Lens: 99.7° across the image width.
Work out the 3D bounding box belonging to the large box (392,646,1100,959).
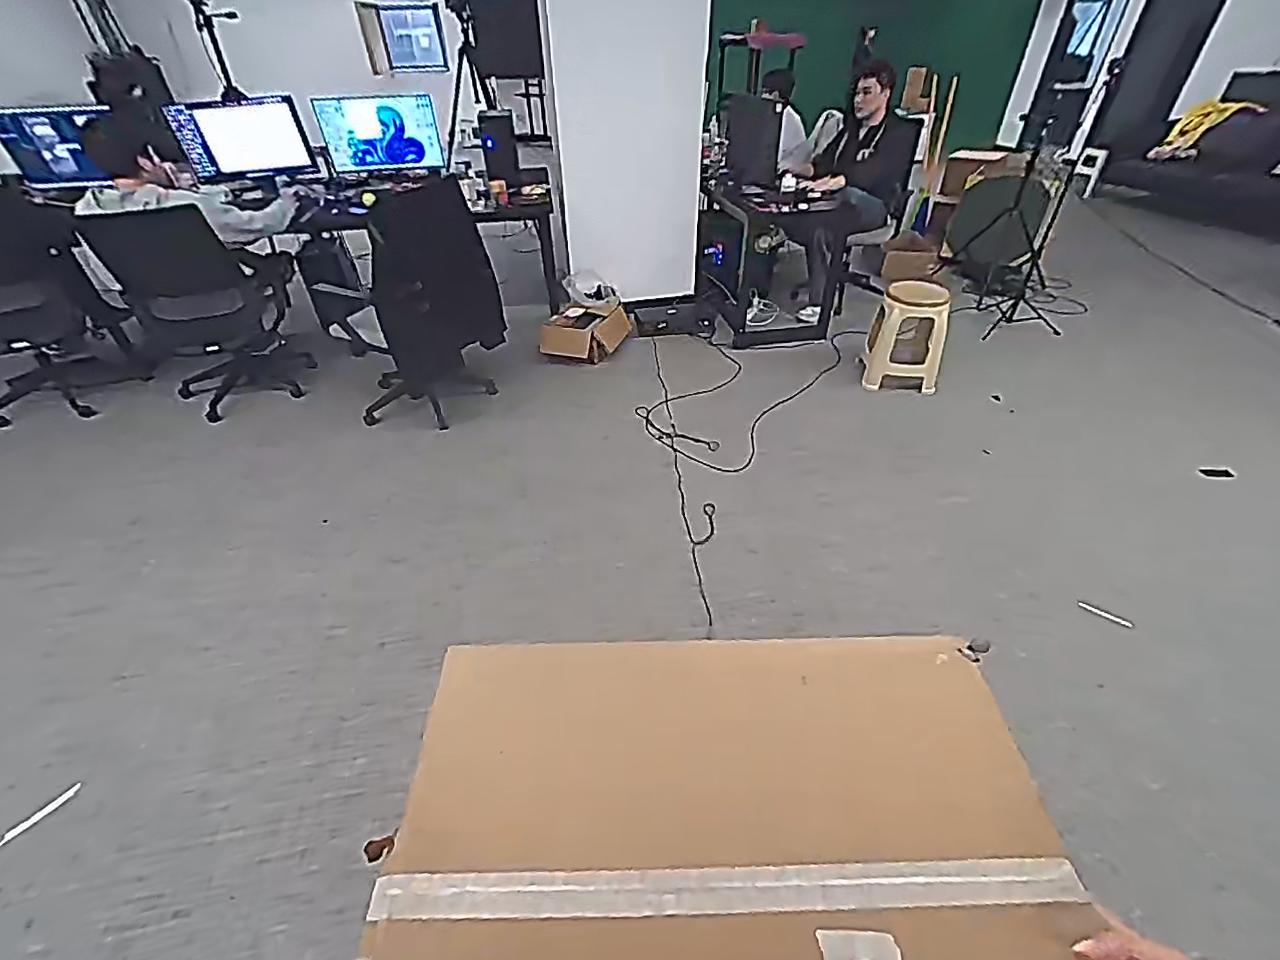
[{"bbox_3d":[0.057,0.352,0.429,0.408,0.320,0.320,-1,47,-1],"label":"large box"}]
